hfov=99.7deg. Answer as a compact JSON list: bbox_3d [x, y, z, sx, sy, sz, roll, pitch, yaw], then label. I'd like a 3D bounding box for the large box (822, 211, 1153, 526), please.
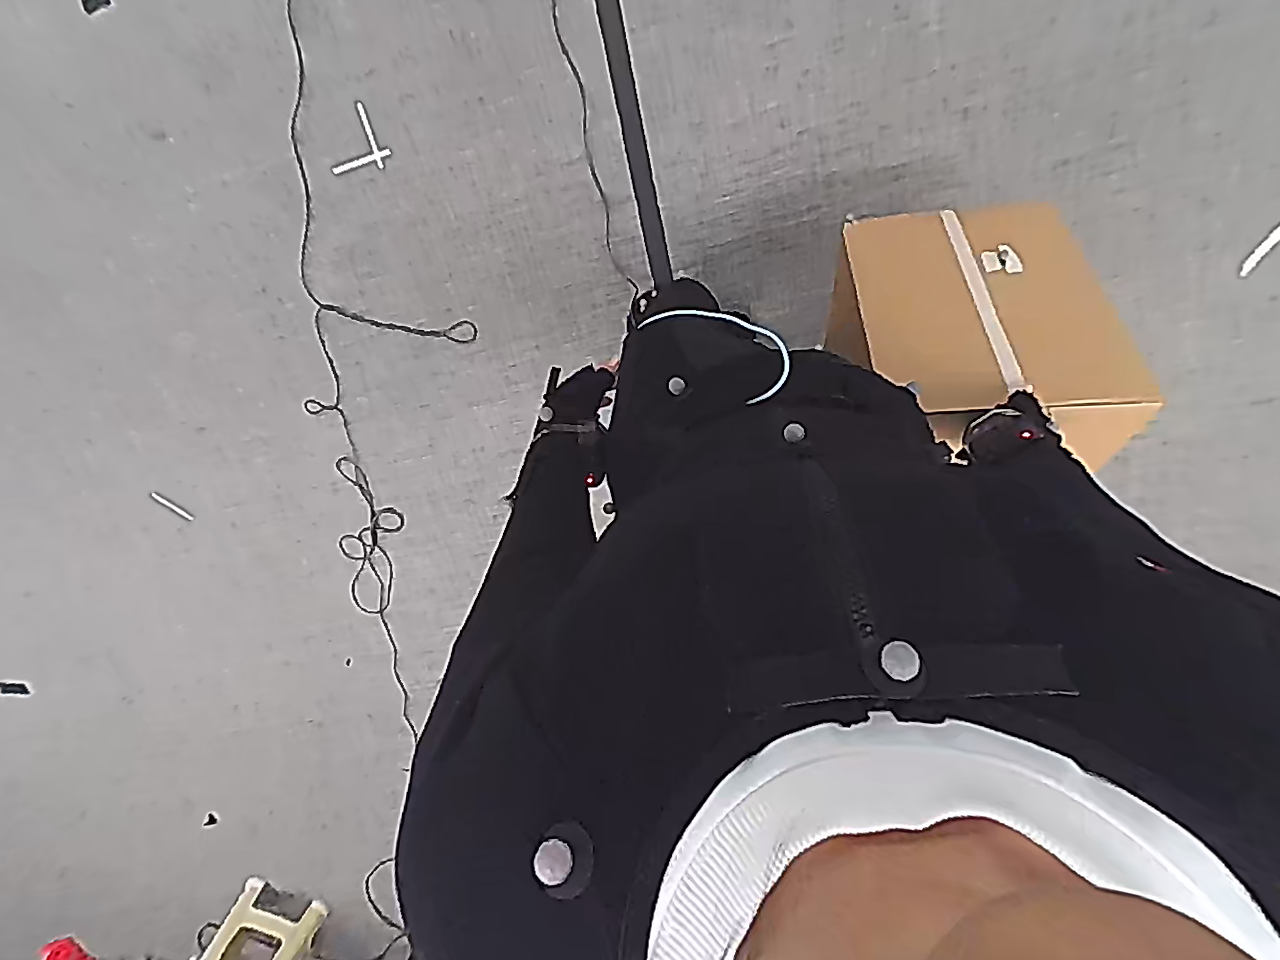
[{"bbox_3d":[0.501,-0.173,0.900,0.320,0.408,0.320,-2,147,9],"label":"large box"}]
